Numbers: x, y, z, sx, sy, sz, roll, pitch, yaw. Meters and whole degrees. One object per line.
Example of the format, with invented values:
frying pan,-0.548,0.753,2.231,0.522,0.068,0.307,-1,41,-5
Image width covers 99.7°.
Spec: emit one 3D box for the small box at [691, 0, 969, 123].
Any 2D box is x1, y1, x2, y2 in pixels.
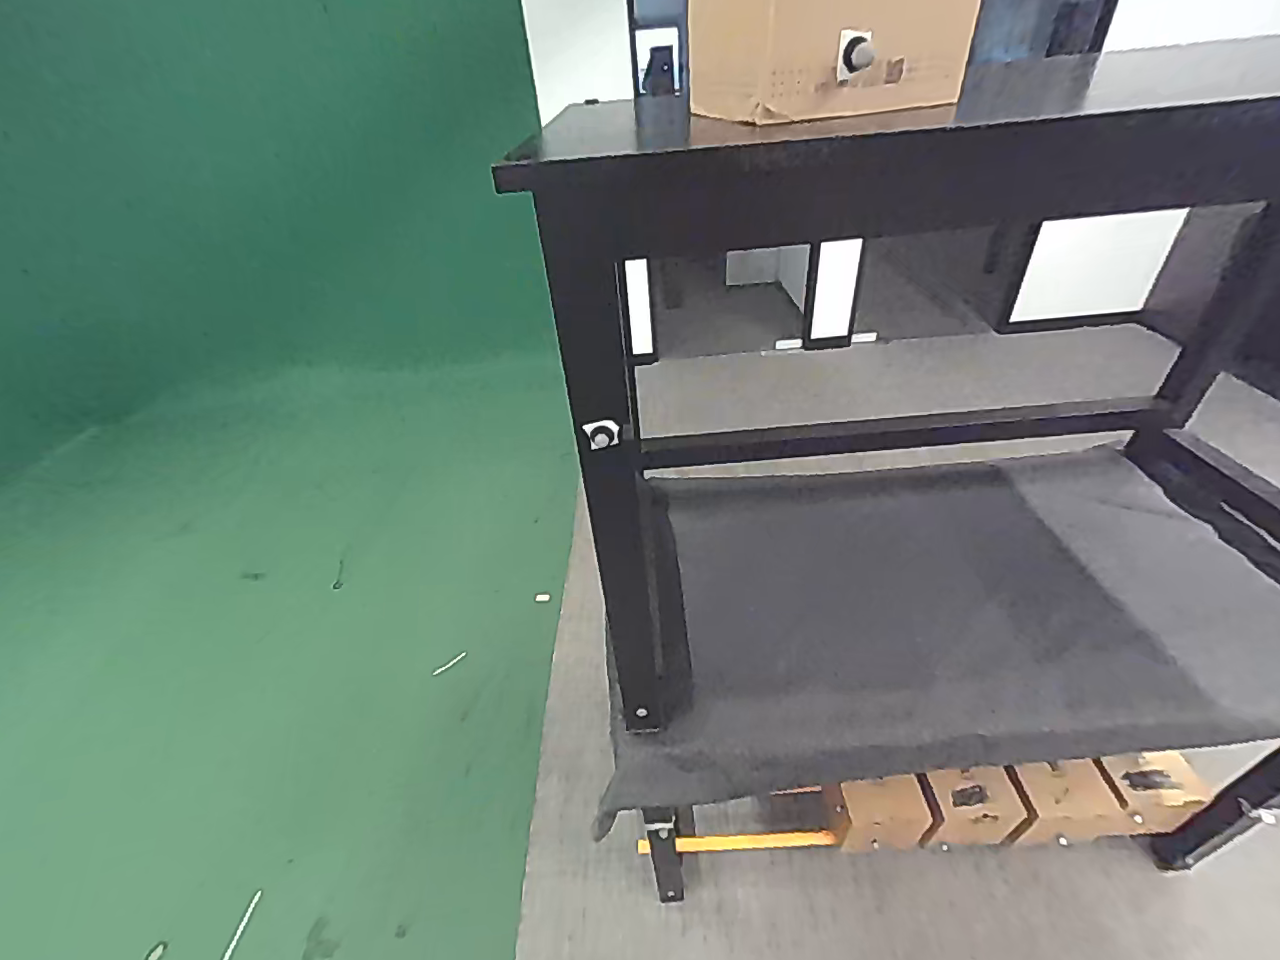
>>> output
small box,0.139,-0.395,0.431,0.168,0.176,0.179,-12,39,-7
